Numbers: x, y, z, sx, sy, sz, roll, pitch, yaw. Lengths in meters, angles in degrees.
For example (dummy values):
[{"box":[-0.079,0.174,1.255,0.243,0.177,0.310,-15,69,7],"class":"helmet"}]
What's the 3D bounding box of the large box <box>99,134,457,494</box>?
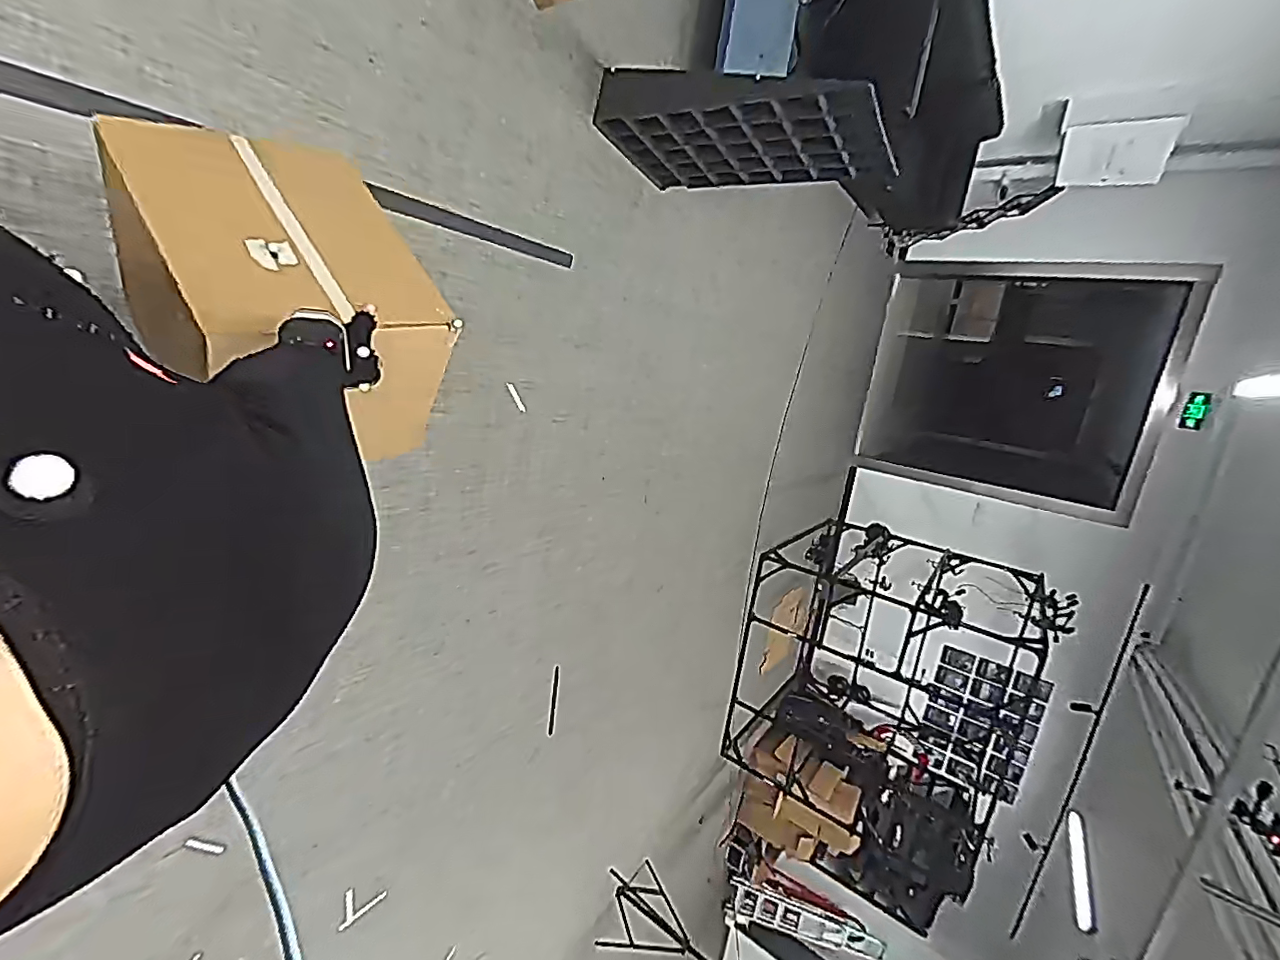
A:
[{"box":[-0.569,-0.250,0.862,0.320,0.408,0.320,-22,160,-46],"class":"large box"}]
